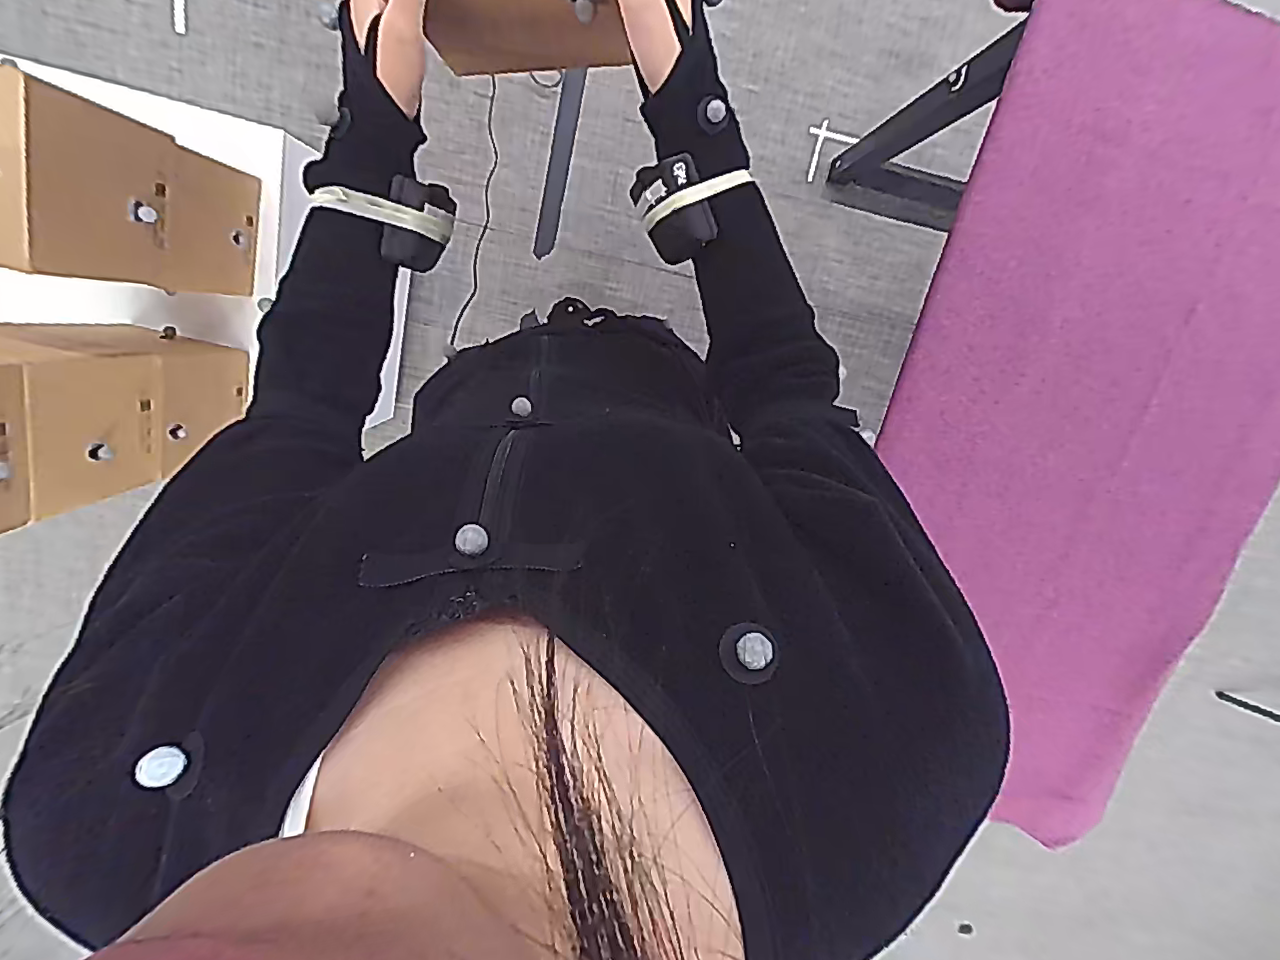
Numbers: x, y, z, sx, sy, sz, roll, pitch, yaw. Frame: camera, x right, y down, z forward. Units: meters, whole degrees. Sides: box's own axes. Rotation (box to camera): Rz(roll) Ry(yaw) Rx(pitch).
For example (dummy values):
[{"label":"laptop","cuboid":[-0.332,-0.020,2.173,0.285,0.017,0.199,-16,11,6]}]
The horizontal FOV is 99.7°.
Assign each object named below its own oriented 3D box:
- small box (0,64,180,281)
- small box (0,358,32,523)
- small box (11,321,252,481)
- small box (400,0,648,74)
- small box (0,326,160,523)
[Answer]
[{"label":"small box","cuboid":[-0.609,-0.301,0.527,0.179,0.176,0.168,14,105,-8]},{"label":"small box","cuboid":[-0.669,-0.028,0.434,0.179,0.176,0.168,11,106,-7]},{"label":"small box","cuboid":[-0.686,-0.114,0.747,0.179,0.176,0.168,13,105,-5]},{"label":"small box","cuboid":[-0.082,-0.417,0.380,0.179,0.176,0.168,-2,106,1]},{"label":"small box","cuboid":[-0.676,-0.071,0.591,0.179,0.176,0.168,12,105,-6]}]
